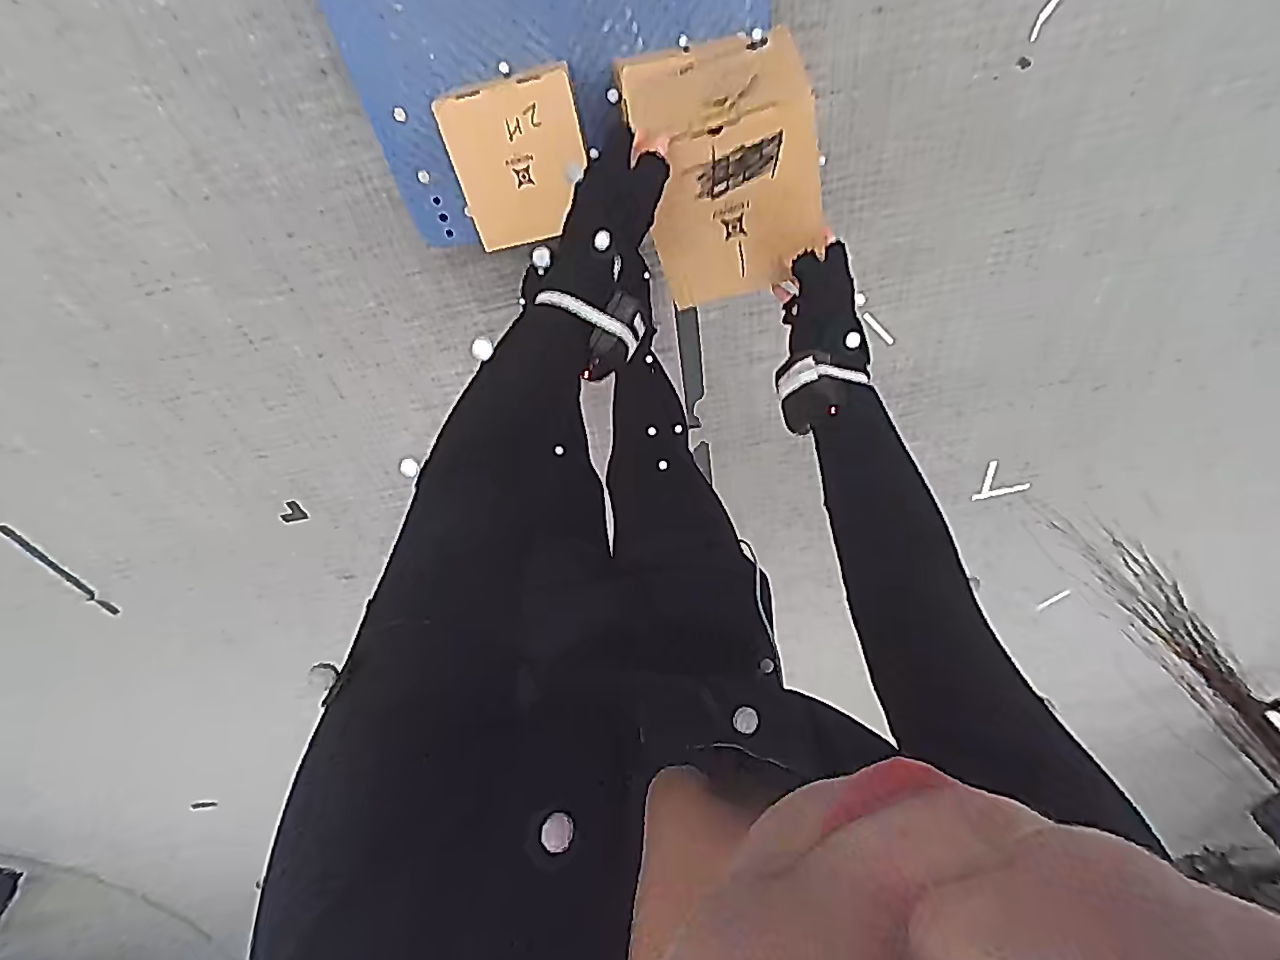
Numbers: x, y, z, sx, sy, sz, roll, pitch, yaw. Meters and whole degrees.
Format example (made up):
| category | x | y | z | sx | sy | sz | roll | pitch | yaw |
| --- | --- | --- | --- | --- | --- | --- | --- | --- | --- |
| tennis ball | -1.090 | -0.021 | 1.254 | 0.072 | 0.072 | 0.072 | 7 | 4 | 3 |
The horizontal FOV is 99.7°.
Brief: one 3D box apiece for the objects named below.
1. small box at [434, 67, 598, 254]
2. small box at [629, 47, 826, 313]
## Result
| category | x | y | z | sx | sy | sz | roll | pitch | yaw |
| --- | --- | --- | --- | --- | --- | --- | --- | --- | --- |
| small box | -0.156 | -0.442 | 0.748 | 0.168 | 0.176 | 0.179 | -12 | 130 | 3 |
| small box | 0.094 | -0.316 | 0.574 | 0.168 | 0.176 | 0.179 | -10 | 145 | 18 |
